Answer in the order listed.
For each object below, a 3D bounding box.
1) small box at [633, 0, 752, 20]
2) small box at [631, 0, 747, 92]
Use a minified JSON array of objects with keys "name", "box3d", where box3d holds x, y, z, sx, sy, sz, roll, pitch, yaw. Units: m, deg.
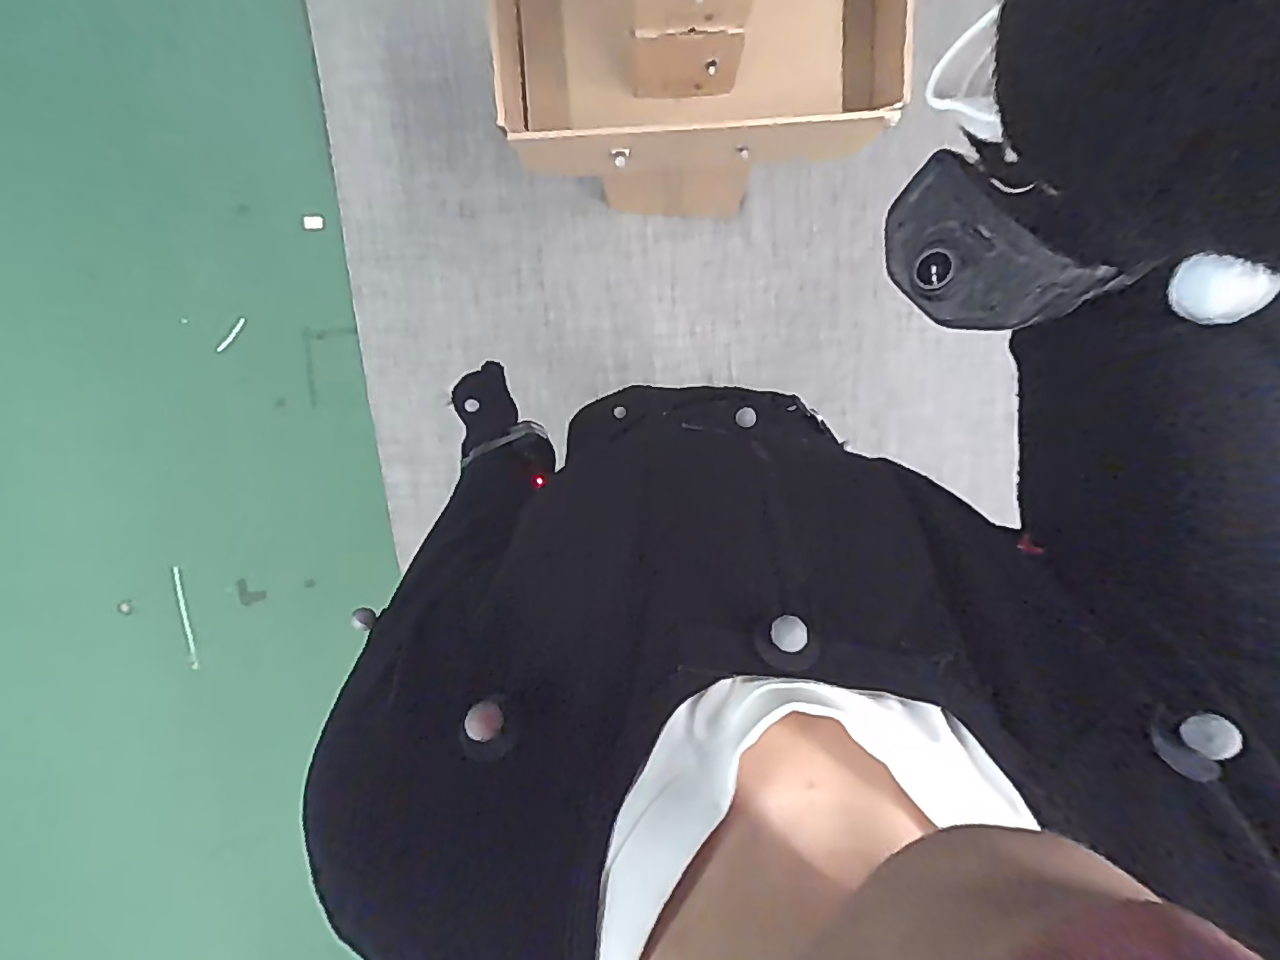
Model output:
[{"name":"small box","box3d":[0.070,-0.717,0.676,0.168,0.176,0.179,-3,100,0]},{"name":"small box","box3d":[0.070,-0.735,0.838,0.168,0.176,0.179,-3,98,0]}]
